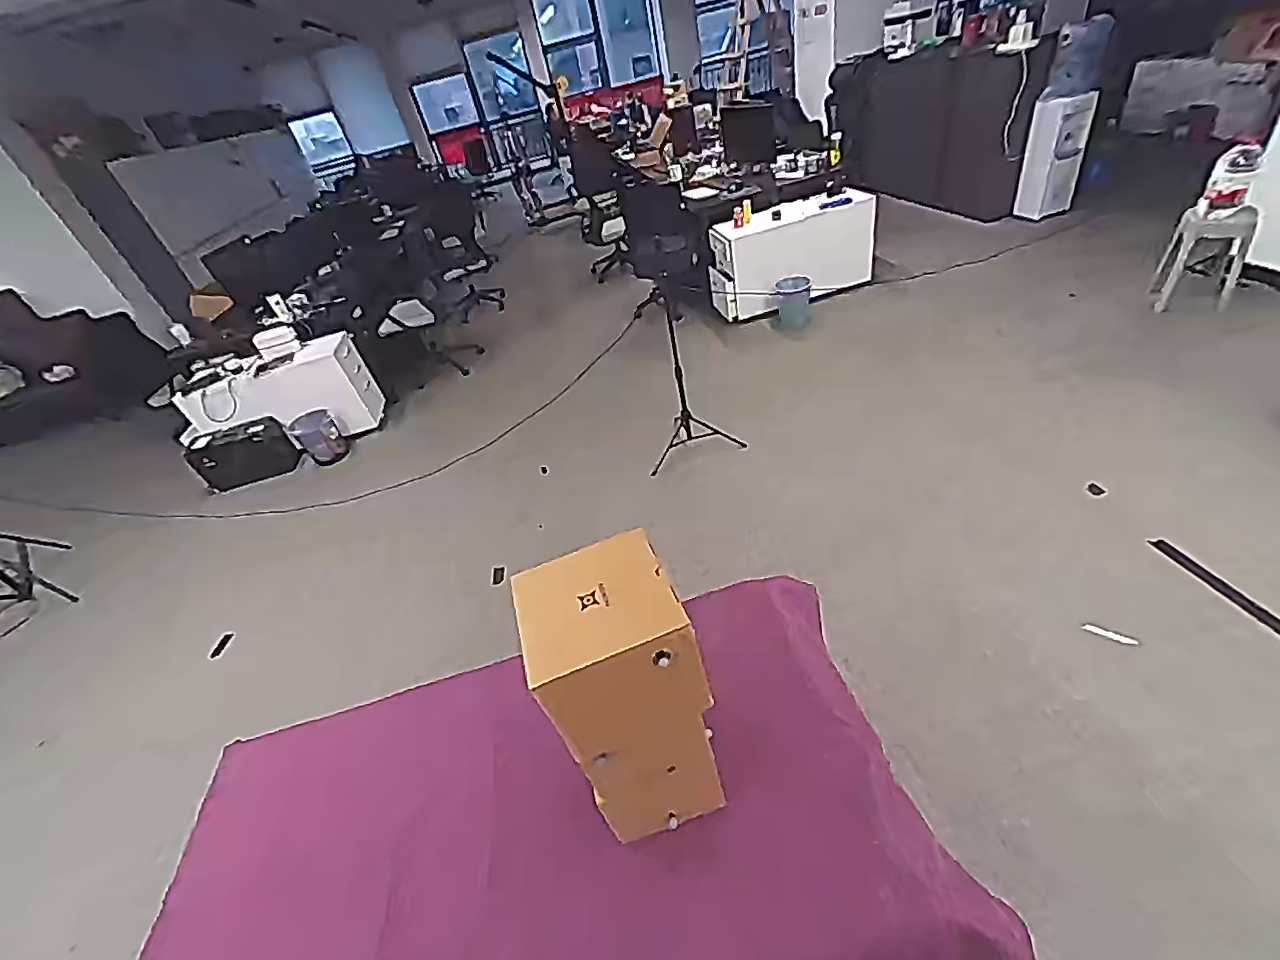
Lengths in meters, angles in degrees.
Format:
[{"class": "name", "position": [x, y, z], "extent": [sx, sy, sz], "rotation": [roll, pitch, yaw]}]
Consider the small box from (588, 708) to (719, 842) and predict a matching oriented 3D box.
[{"class": "small box", "position": [0.018, 0.433, 0.857], "extent": [0.179, 0.176, 0.168], "rotation": [-18, 37, -5]}]

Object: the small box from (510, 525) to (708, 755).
[{"class": "small box", "position": [-0.036, 0.190, 0.643], "extent": [0.179, 0.176, 0.168], "rotation": [-20, 38, -7]}]
